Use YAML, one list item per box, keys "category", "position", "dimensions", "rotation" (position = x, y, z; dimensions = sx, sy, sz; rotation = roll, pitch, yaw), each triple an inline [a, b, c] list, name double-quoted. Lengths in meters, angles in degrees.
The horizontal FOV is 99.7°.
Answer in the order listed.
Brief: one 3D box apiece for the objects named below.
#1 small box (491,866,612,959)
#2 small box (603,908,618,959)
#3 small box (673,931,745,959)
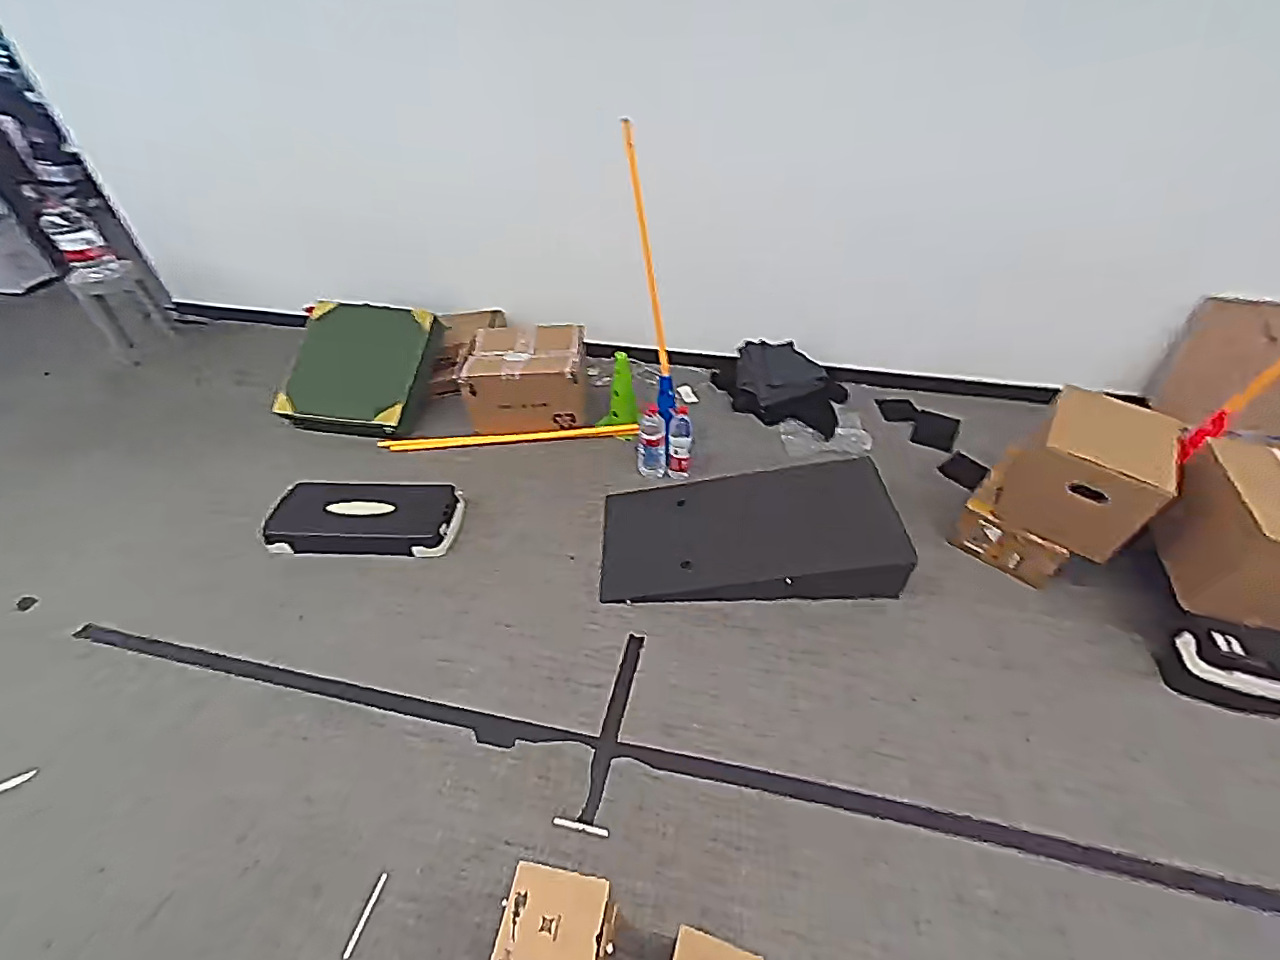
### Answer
- category: "small box"
  position: [-0.151, 0.822, 0.963]
  dimensions: [0.179, 0.176, 0.168]
  rotation: [8, 44, 8]
- category: "small box"
  position: [-0.145, 0.945, 1.073]
  dimensions: [0.168, 0.176, 0.179]
  rotation: [11, 44, 12]
- category: "small box"
  position: [0.126, 0.998, 1.014]
  dimensions: [0.168, 0.176, 0.179]
  rotation: [14, 45, 14]
